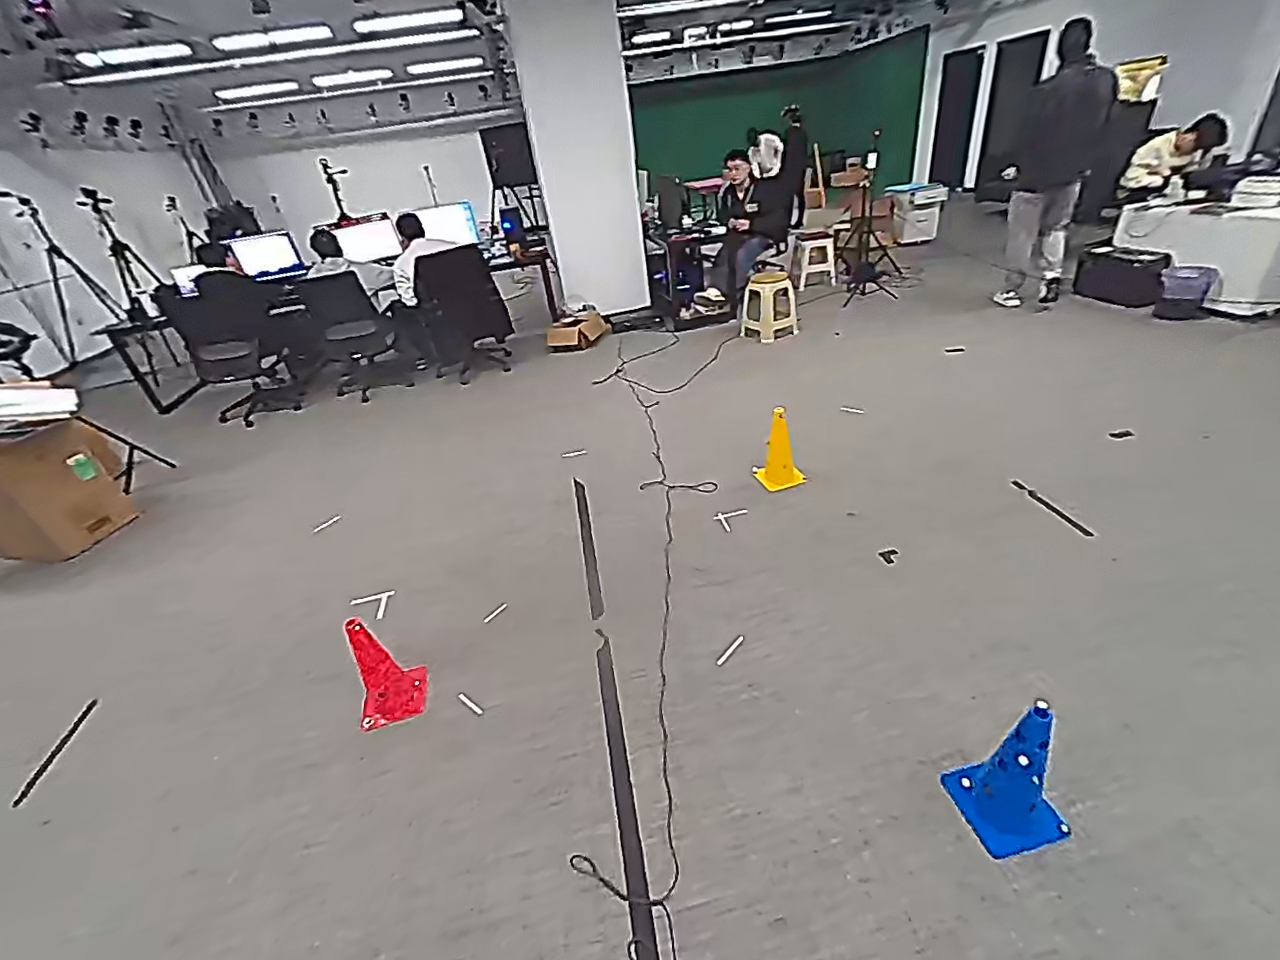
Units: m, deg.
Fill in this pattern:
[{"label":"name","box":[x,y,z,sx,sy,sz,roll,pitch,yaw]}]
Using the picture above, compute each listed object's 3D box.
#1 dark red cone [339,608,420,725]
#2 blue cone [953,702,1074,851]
[{"label":"dark red cone","box":[-0.841,0.553,1.676,0.201,0.394,0.202,-15,32,-12]},{"label":"blue cone","box":[0.848,0.620,1.184,0.192,0.380,0.193,-11,31,-5]}]
